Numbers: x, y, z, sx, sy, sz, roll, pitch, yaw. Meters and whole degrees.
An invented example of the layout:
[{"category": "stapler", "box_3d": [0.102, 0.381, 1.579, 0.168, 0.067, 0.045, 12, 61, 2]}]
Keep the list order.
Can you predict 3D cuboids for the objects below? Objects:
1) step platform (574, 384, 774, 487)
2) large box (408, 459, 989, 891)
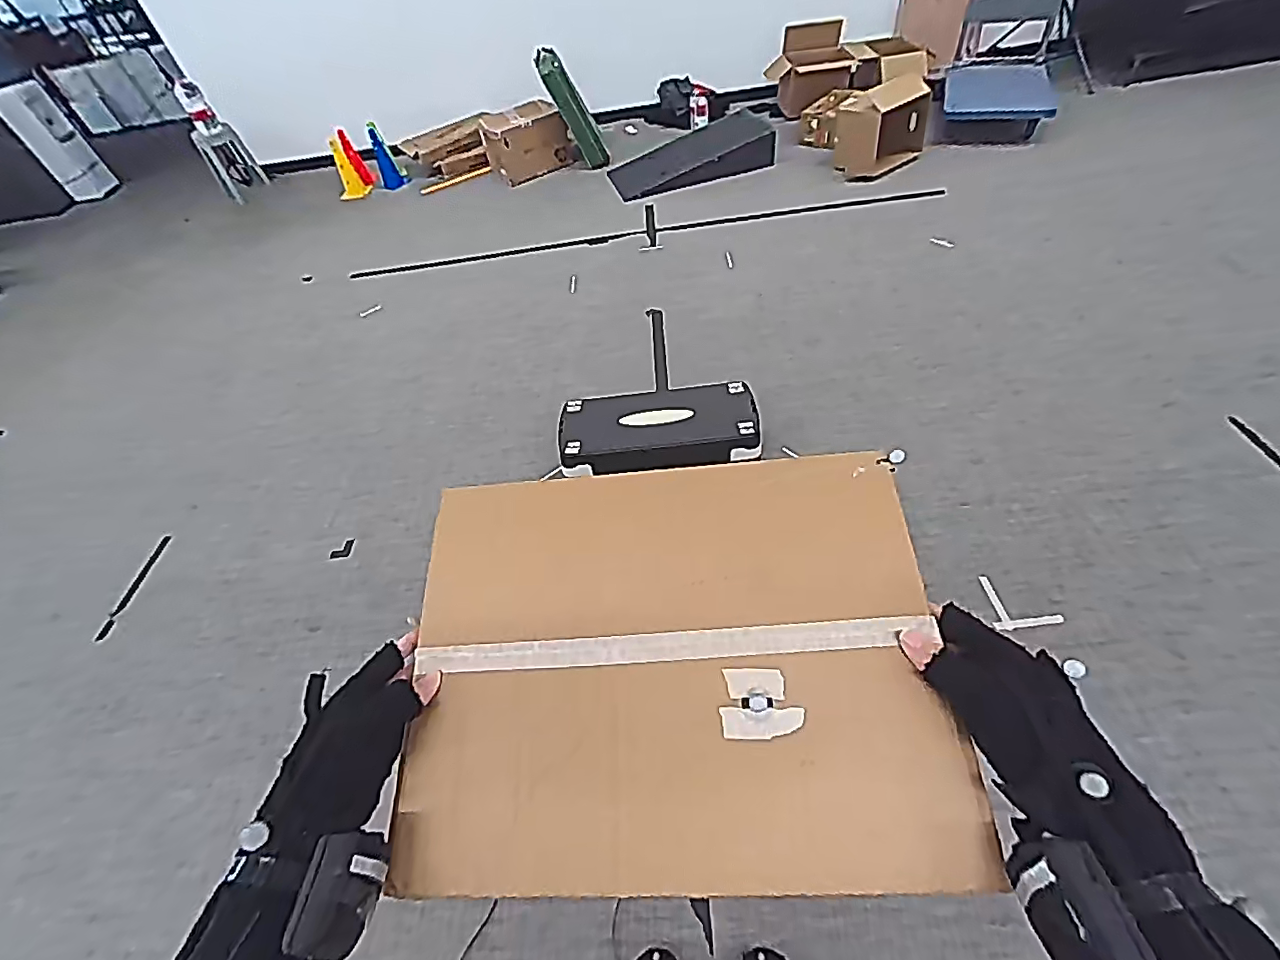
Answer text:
[{"category": "step platform", "box_3d": [0.113, -0.145, 1.879, 0.684, 0.204, 0.286, -6, 50, 3]}, {"category": "large box", "box_3d": [0.042, 0.204, 0.564, 0.408, 0.320, 0.320, -5, 62, 6]}]
